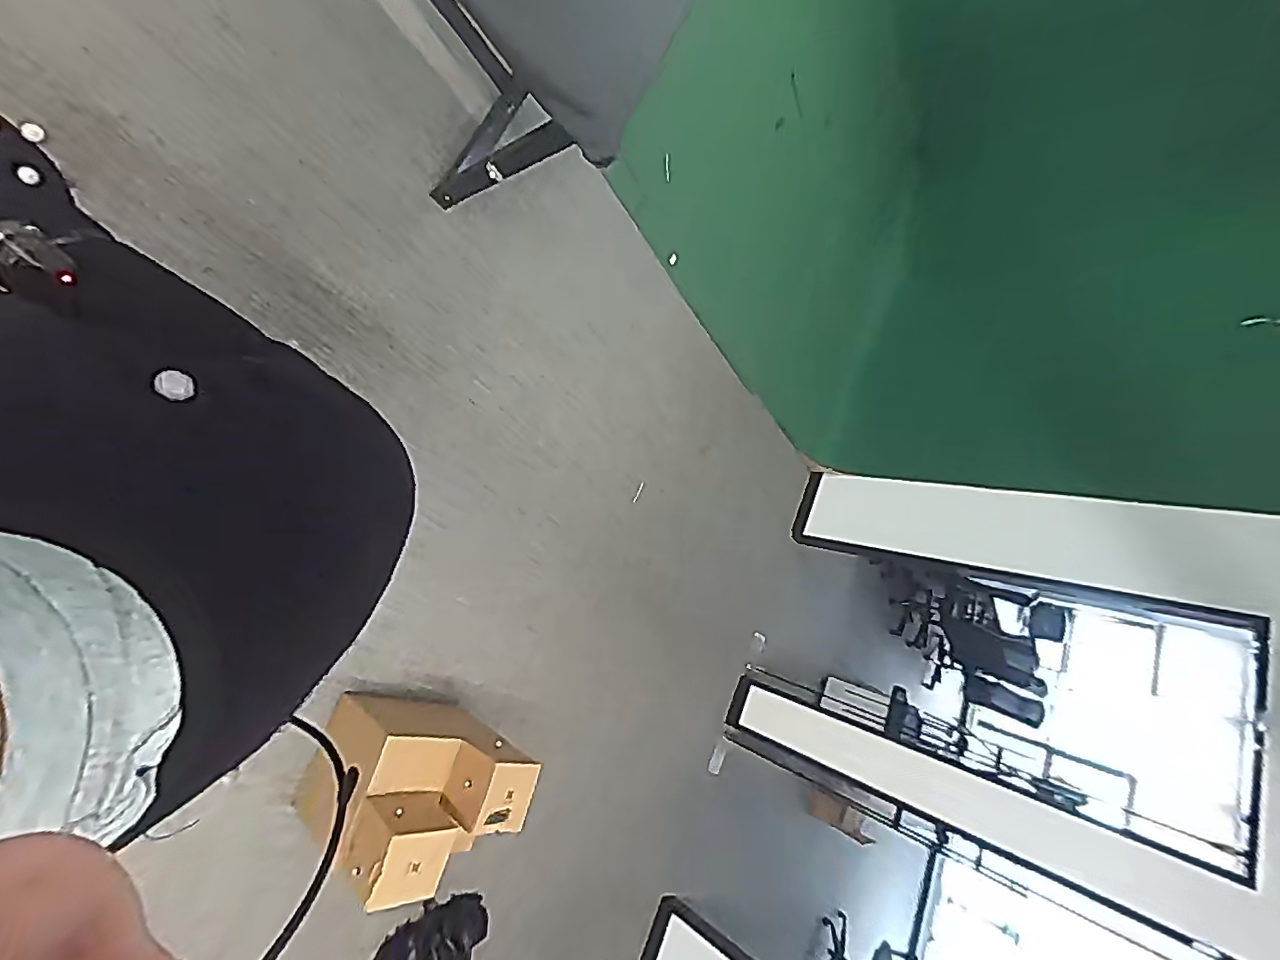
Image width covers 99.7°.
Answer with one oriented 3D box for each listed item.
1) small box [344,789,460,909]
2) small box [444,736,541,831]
[{"bbox_3d":[-0.578,0.876,1.304,0.179,0.176,0.168,28,78,-47],"label":"small box"},{"bbox_3d":[-0.408,0.829,1.483,0.168,0.176,0.179,34,68,-45],"label":"small box"}]
